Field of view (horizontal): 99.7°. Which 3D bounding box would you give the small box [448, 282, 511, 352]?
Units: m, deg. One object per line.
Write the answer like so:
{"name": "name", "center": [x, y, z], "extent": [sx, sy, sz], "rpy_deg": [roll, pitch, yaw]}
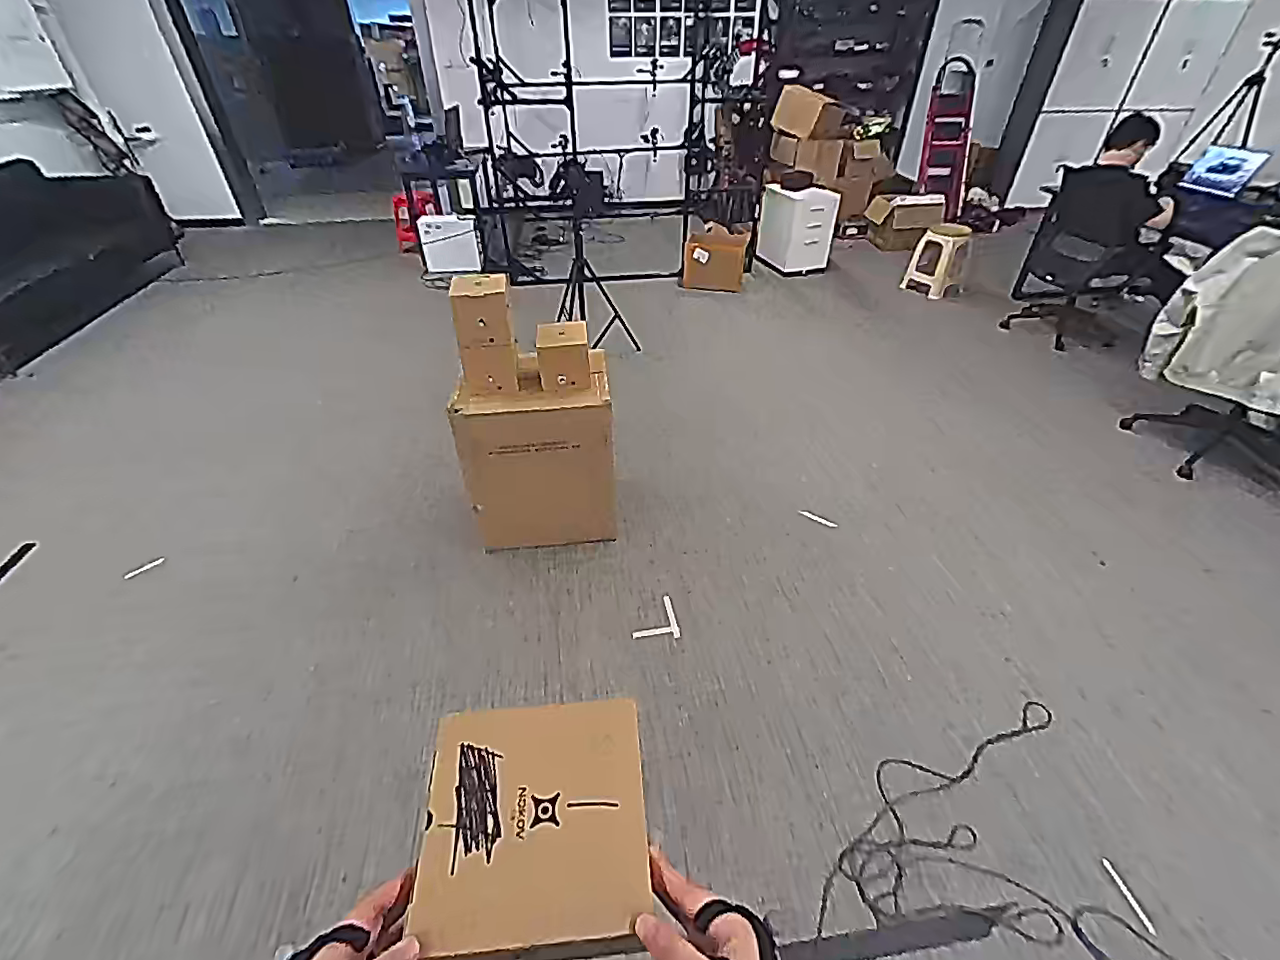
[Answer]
{"name": "small box", "center": [-0.502, -0.514, 1.716], "extent": [0.168, 0.176, 0.179], "rpy_deg": [-6, 40, -9]}

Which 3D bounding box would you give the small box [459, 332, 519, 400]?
{"name": "small box", "center": [-0.502, -0.384, 1.817], "extent": [0.168, 0.176, 0.179], "rpy_deg": [-5, 39, -8]}

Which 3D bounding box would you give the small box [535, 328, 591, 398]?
{"name": "small box", "center": [-0.259, -0.396, 1.833], "extent": [0.168, 0.176, 0.179], "rpy_deg": [-7, 41, -4]}

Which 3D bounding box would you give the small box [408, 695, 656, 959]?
{"name": "small box", "center": [-0.080, 0.314, 0.486], "extent": [0.179, 0.176, 0.168], "rpy_deg": [-3, 45, -4]}
